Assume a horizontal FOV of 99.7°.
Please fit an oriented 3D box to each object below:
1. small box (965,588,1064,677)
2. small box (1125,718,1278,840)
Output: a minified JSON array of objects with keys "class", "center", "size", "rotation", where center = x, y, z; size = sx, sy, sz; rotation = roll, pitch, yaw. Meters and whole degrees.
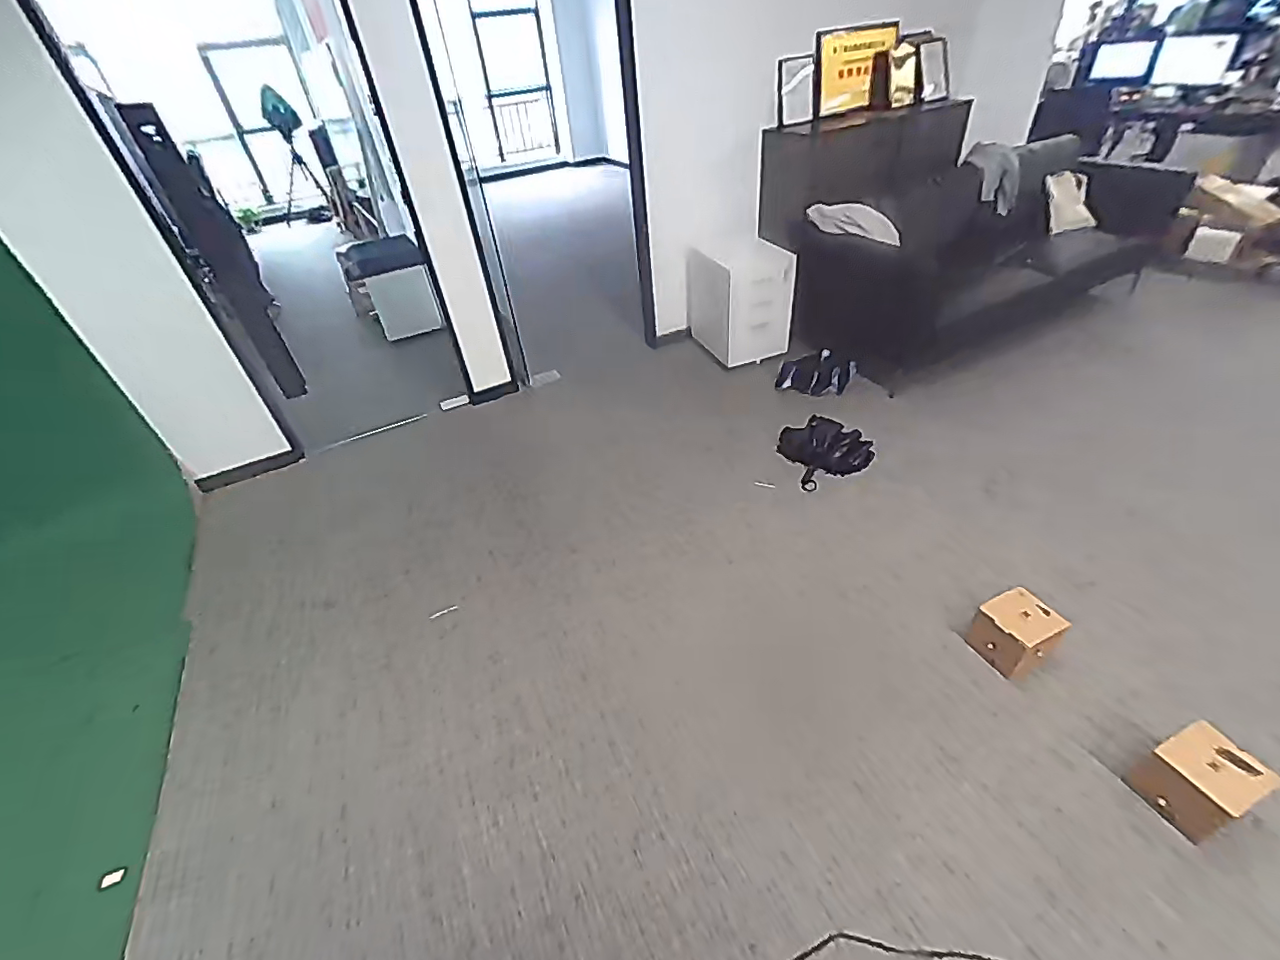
[{"class":"small box","center":[1.133,0.470,1.653],"size":[0.179,0.176,0.168],"rotation":[-20,40,-15]},{"class":"small box","center":[1.335,0.720,1.302],"size":[0.179,0.176,0.168],"rotation":[-21,39,-14]}]
